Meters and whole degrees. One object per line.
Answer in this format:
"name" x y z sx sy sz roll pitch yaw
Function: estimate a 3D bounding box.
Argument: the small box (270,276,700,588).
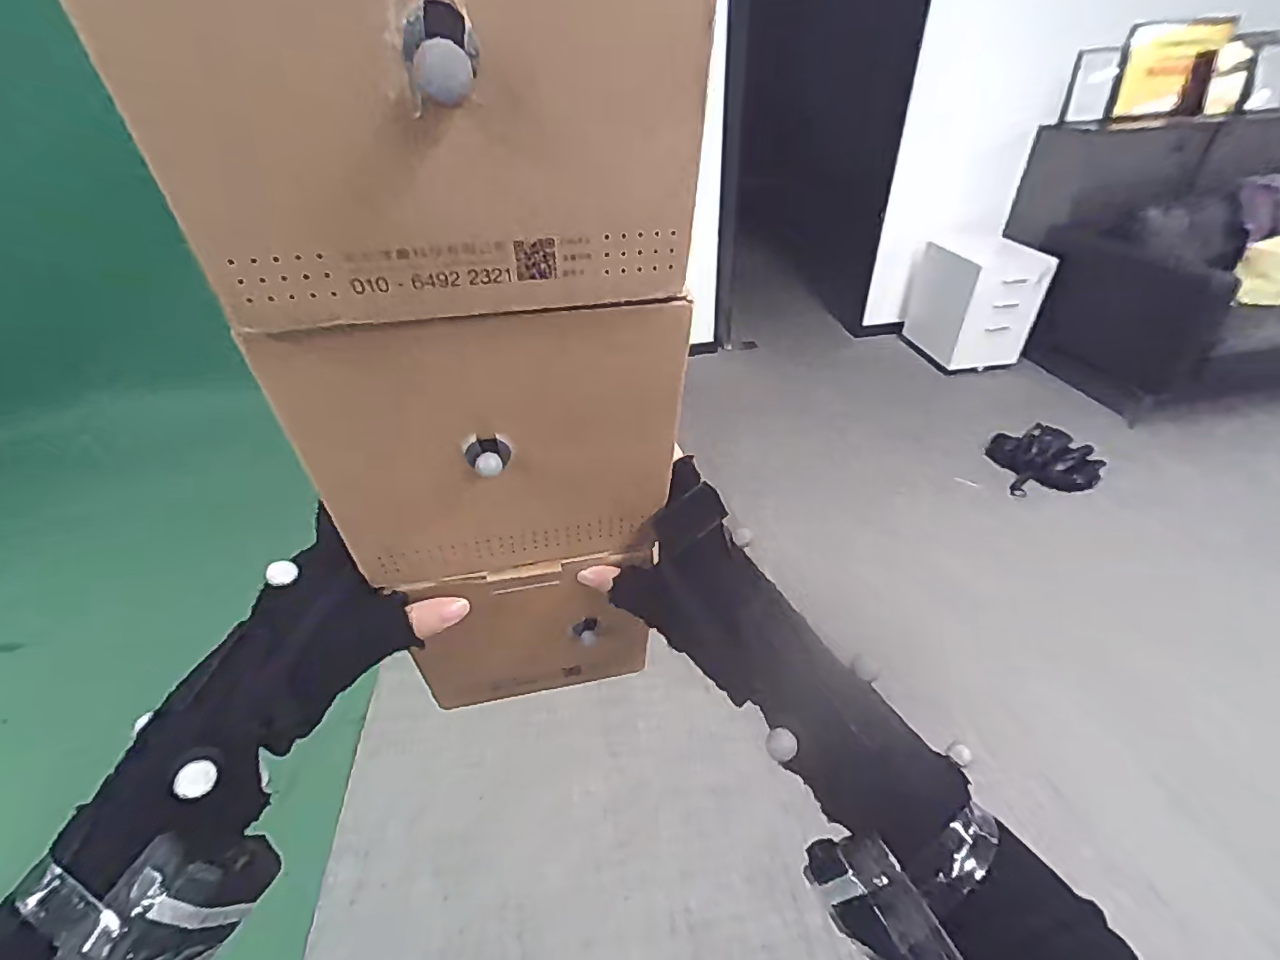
"small box" -0.083 -0.058 0.329 0.179 0.176 0.168 -10 48 -14

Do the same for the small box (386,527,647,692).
"small box" -0.092 0.056 0.448 0.168 0.176 0.179 -7 45 -11
